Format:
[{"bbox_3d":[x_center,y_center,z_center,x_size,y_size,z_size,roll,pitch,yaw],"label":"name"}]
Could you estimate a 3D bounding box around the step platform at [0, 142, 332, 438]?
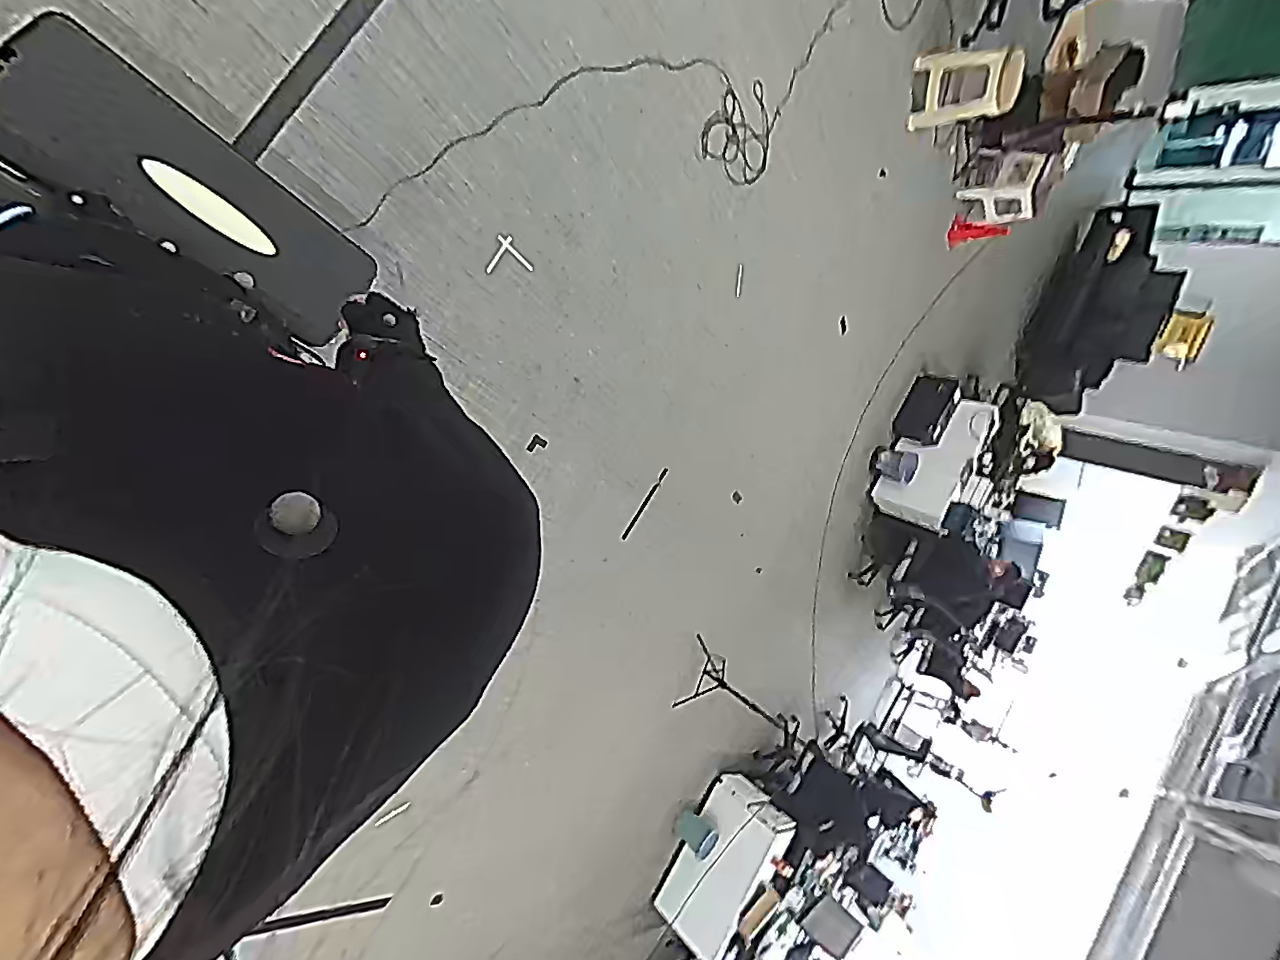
[{"bbox_3d":[-1.030,-0.355,1.120,0.684,0.204,0.286,36,81,-48],"label":"step platform"}]
